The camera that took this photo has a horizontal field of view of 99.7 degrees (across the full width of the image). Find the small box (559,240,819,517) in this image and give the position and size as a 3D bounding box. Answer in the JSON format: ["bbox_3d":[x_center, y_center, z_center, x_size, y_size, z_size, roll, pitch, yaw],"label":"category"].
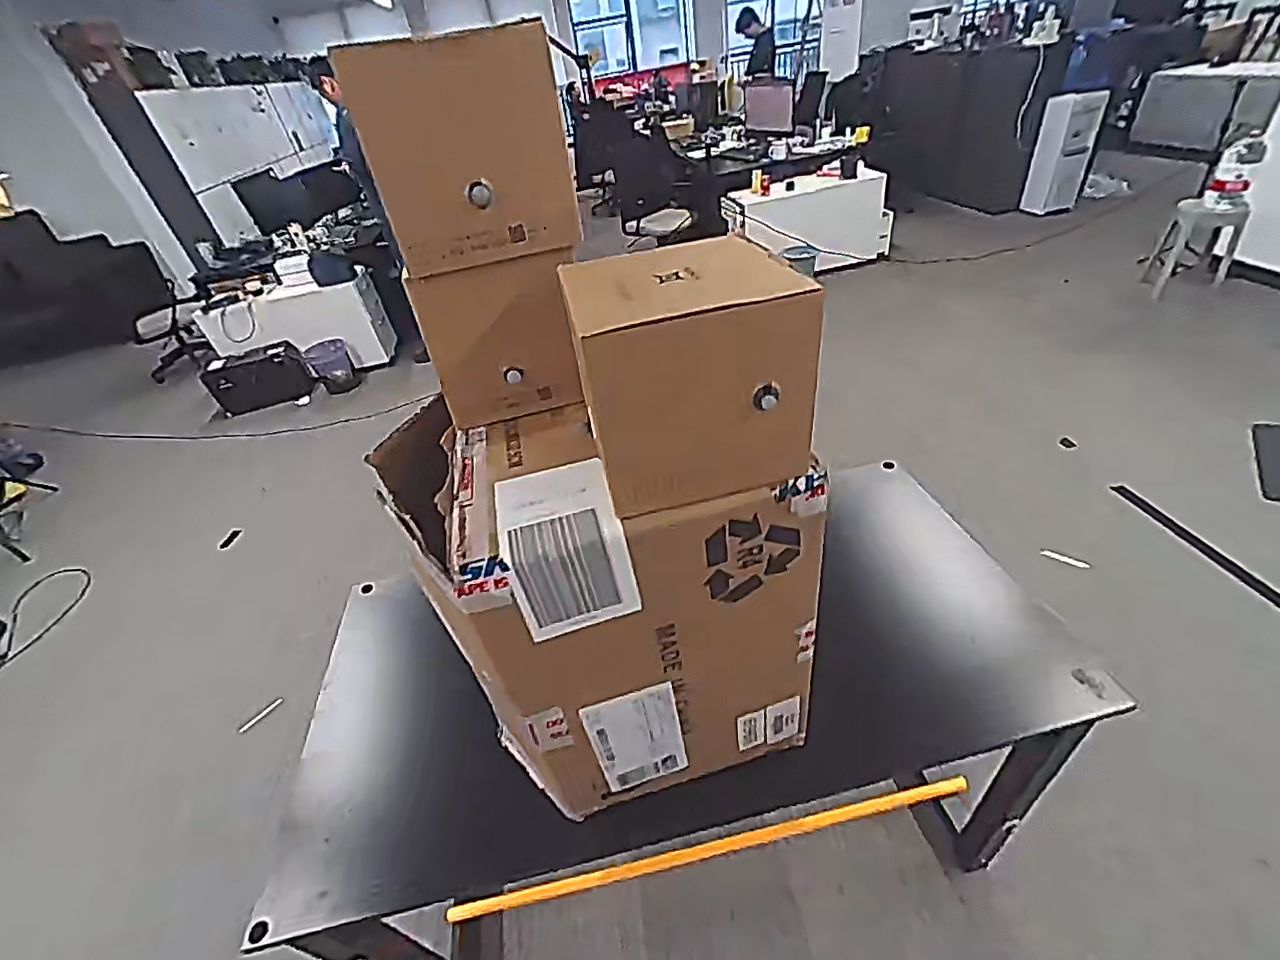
[{"bbox_3d":[0.037,-0.092,0.482,0.179,0.176,0.168,-14,38,-5],"label":"small box"}]

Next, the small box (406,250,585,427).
[{"bbox_3d":[-0.155,-0.184,0.633,0.168,0.176,0.179,-15,37,-8],"label":"small box"}]

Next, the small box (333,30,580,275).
[{"bbox_3d":[-0.166,-0.313,0.529,0.168,0.176,0.179,-17,37,-10],"label":"small box"}]
